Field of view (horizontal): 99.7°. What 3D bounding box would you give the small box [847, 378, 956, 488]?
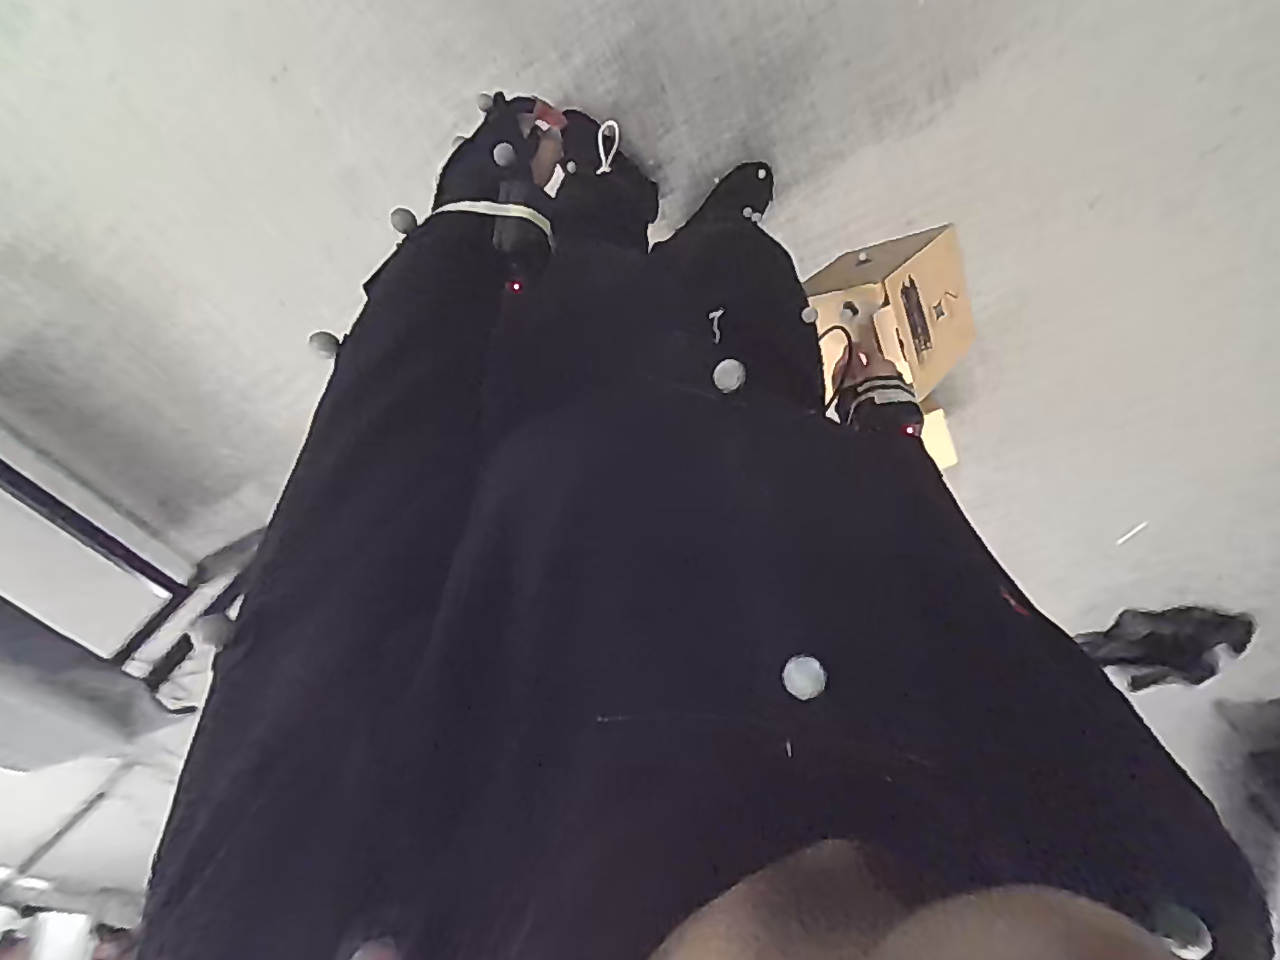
[{"bbox_3d":[0.622,-0.116,1.299,0.179,0.176,0.168,-22,122,23],"label":"small box"}]
